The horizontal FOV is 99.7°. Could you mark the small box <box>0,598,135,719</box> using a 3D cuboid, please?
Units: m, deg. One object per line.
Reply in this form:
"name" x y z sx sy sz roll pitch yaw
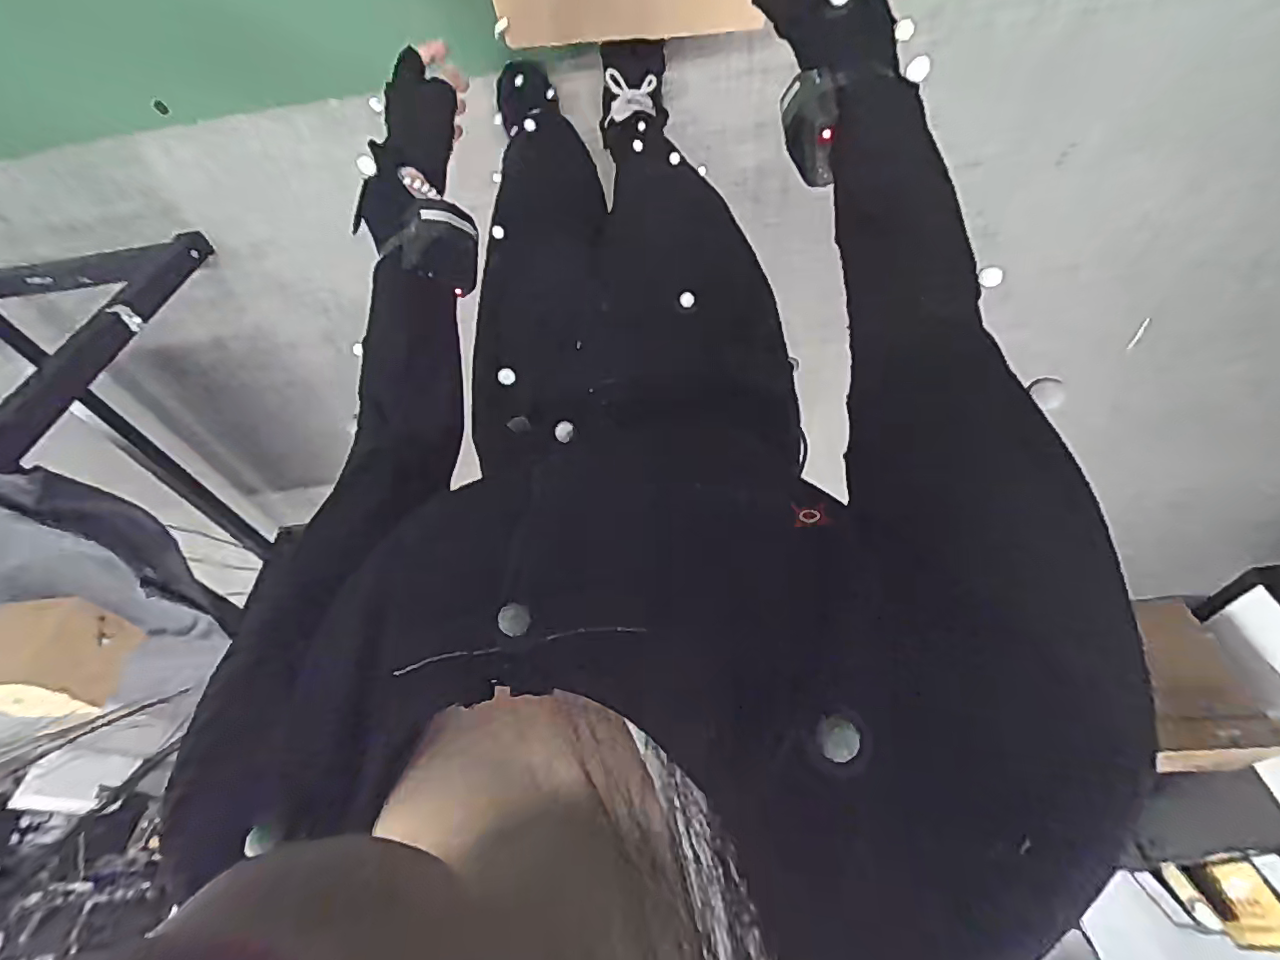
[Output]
"small box" -1.148 0.342 1.038 0.179 0.176 0.168 -6 141 2
